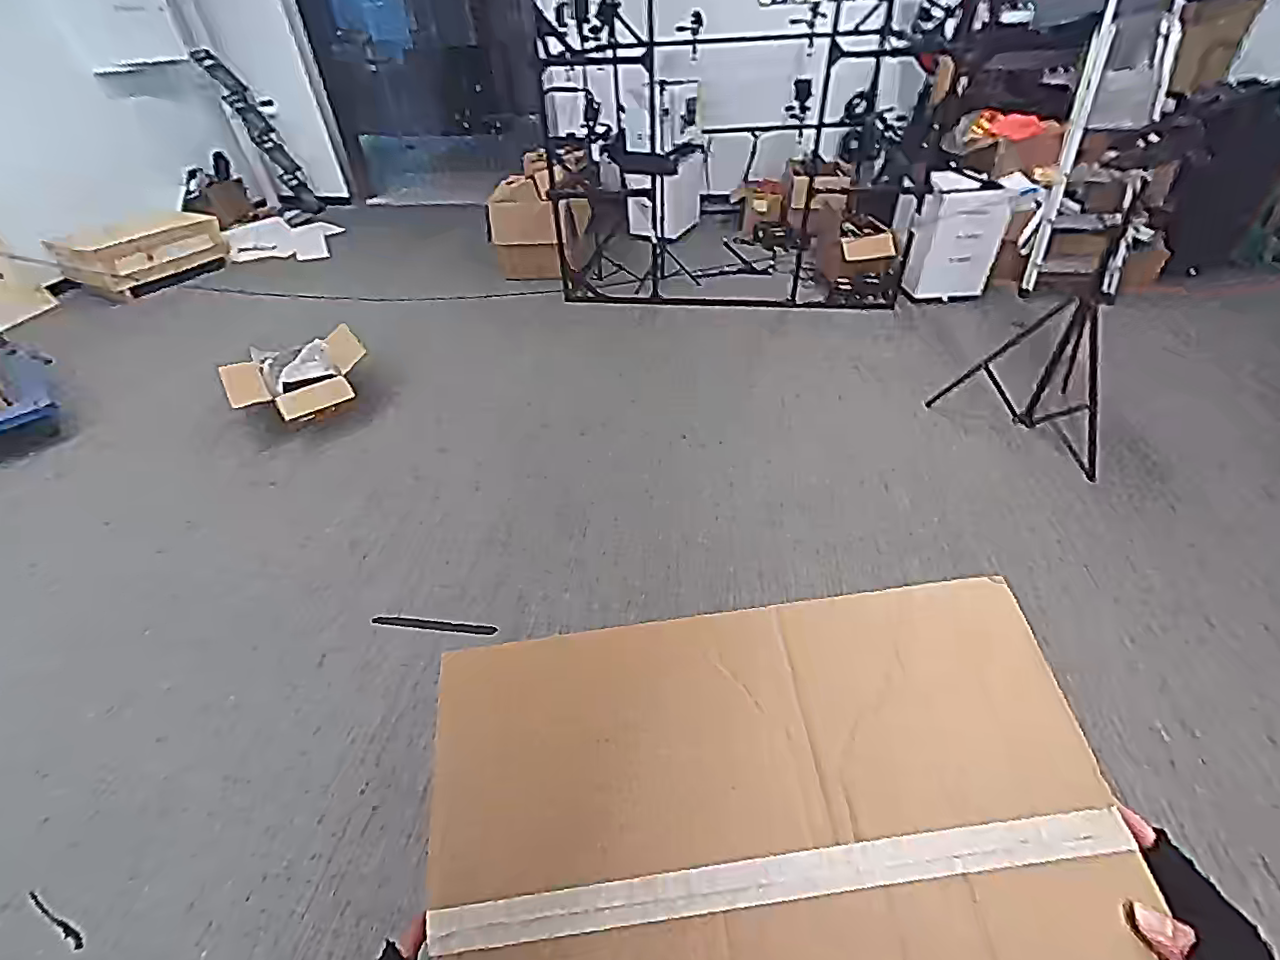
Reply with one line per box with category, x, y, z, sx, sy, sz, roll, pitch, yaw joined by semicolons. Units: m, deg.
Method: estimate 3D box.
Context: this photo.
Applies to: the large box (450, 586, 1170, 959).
large box;0.091;0.311;0.450;0.408;0.320;0.320;-8;61;-1
